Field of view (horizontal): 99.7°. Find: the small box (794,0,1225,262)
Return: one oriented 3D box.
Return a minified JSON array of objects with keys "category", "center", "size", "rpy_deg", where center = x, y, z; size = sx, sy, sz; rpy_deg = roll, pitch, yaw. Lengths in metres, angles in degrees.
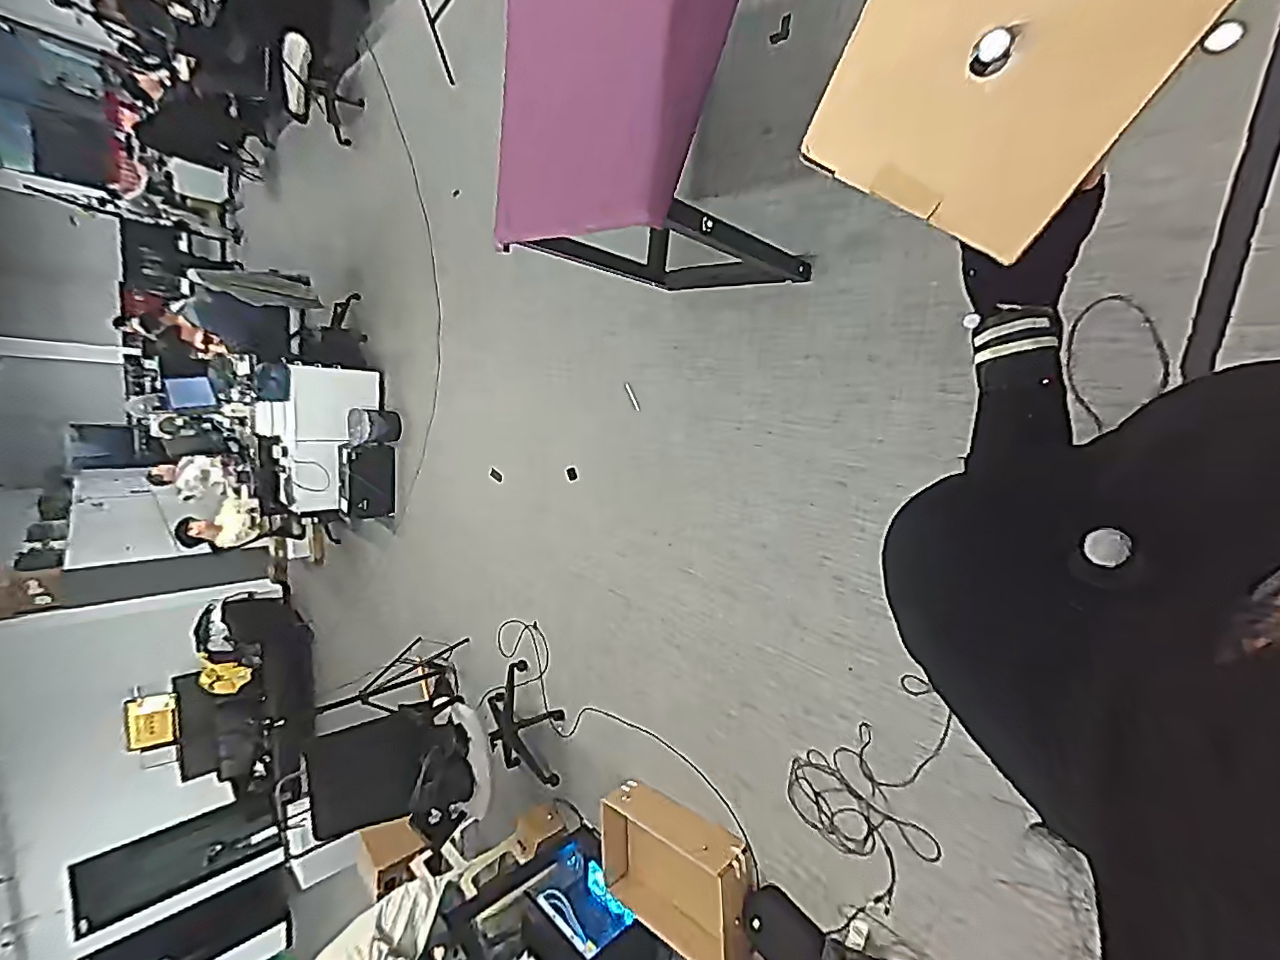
[{"category":"small box","center":[0.236,-0.274,0.345],"size":[0.168,0.179,0.176],"rpy_deg":[39,140,14]}]
